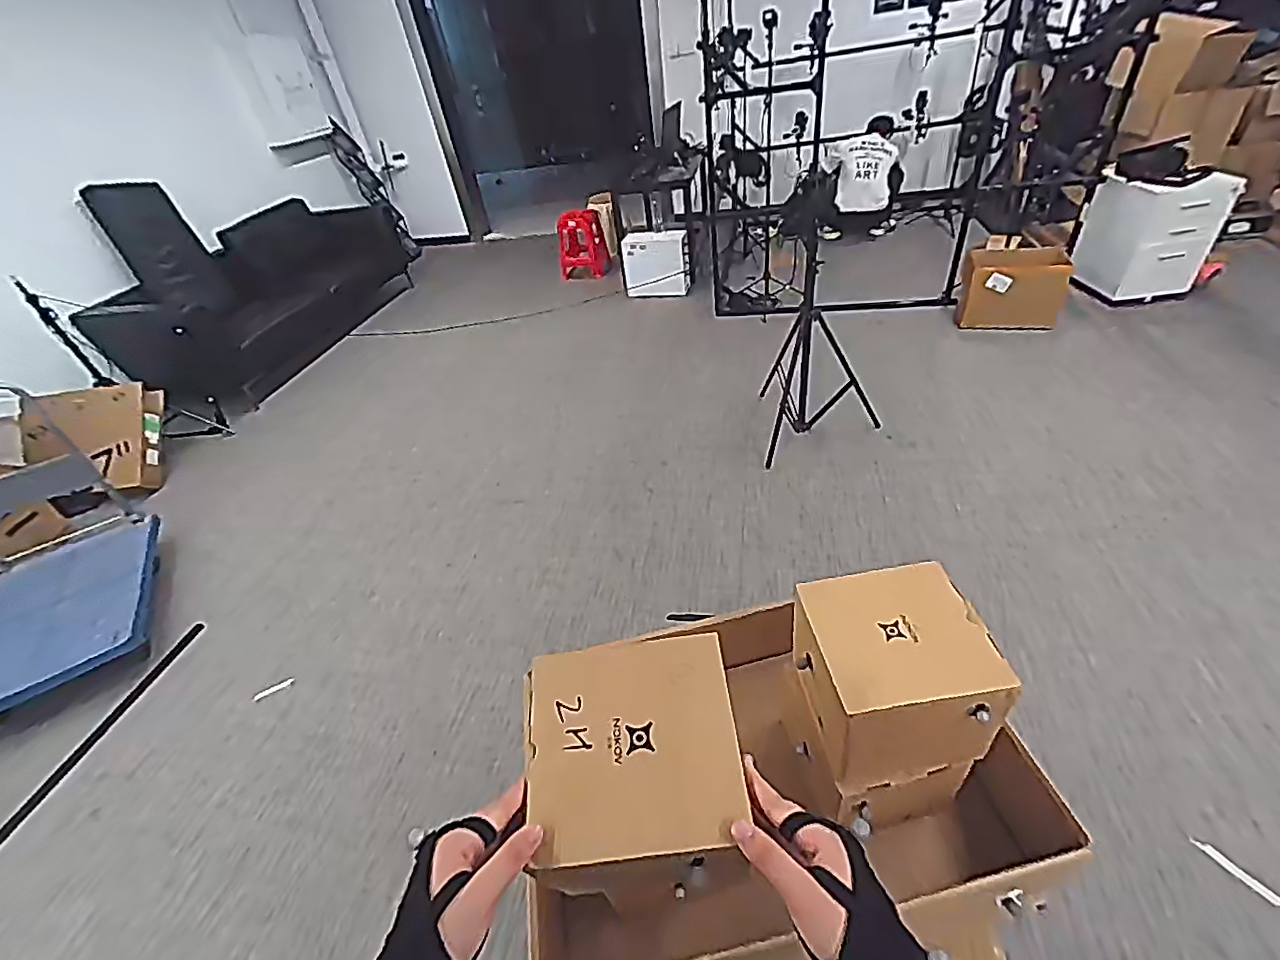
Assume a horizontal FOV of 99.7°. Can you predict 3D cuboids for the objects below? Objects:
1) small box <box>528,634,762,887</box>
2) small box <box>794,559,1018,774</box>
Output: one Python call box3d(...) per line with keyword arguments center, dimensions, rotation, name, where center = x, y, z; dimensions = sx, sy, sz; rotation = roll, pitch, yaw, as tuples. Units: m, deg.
box3d(center=(0.007, 0.265, 0.506), dimensions=(0.179, 0.176, 0.168), rotation=(-9, 47, 3), name="small box")
box3d(center=(0.292, 0.222, 0.639), dimensions=(0.179, 0.176, 0.168), rotation=(-11, 40, 1), name="small box")
